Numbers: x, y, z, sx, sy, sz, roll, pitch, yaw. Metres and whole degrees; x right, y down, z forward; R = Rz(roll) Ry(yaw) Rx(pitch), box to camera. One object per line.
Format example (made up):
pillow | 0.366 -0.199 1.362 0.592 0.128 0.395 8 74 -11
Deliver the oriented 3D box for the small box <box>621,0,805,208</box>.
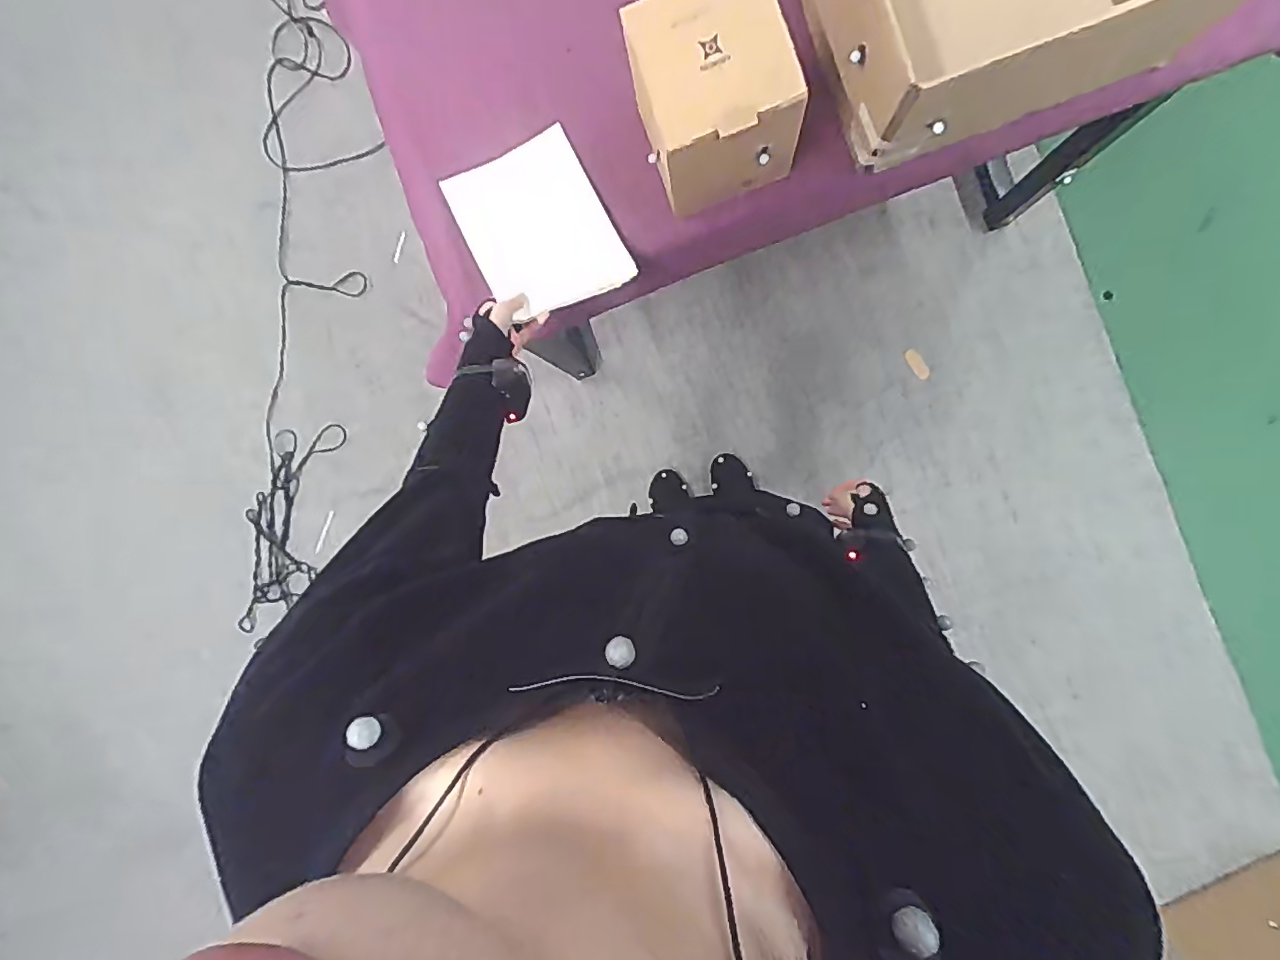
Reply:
small box | 0.091 -0.471 0.674 0.168 0.176 0.179 -18 88 7

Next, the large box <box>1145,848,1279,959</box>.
large box | 1.518 1.147 1.216 0.408 0.320 0.320 -34 88 6
